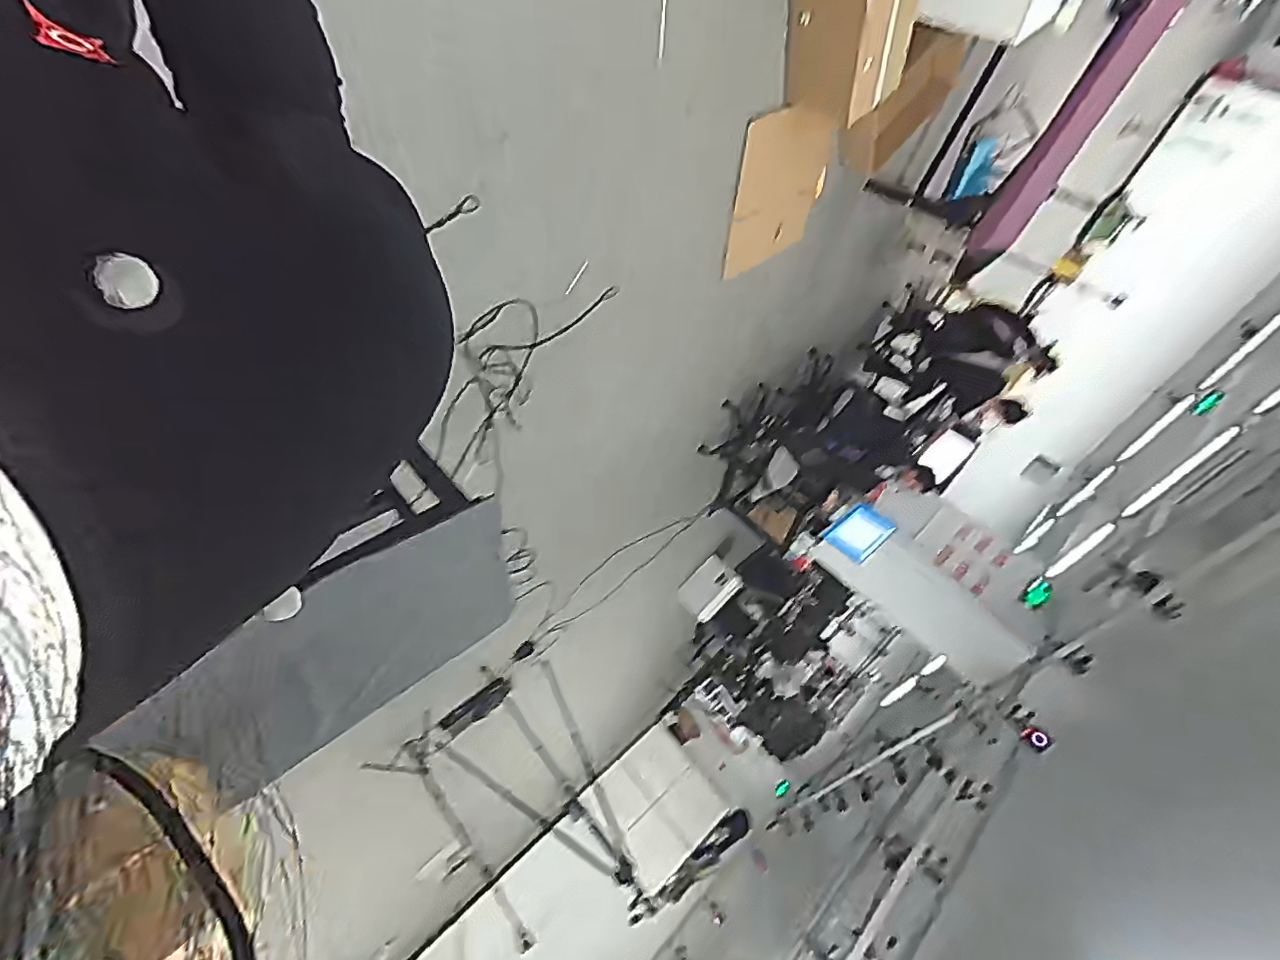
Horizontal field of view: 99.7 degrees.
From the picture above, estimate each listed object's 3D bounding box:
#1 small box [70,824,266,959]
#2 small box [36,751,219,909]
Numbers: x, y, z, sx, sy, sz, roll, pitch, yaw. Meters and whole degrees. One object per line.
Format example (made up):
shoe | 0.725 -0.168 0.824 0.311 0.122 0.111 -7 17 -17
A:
small box | -0.791 0.723 0.914 0.179 0.176 0.168 -34 152 -27
small box | -0.906 0.622 0.969 0.168 0.176 0.179 -34 152 -28
